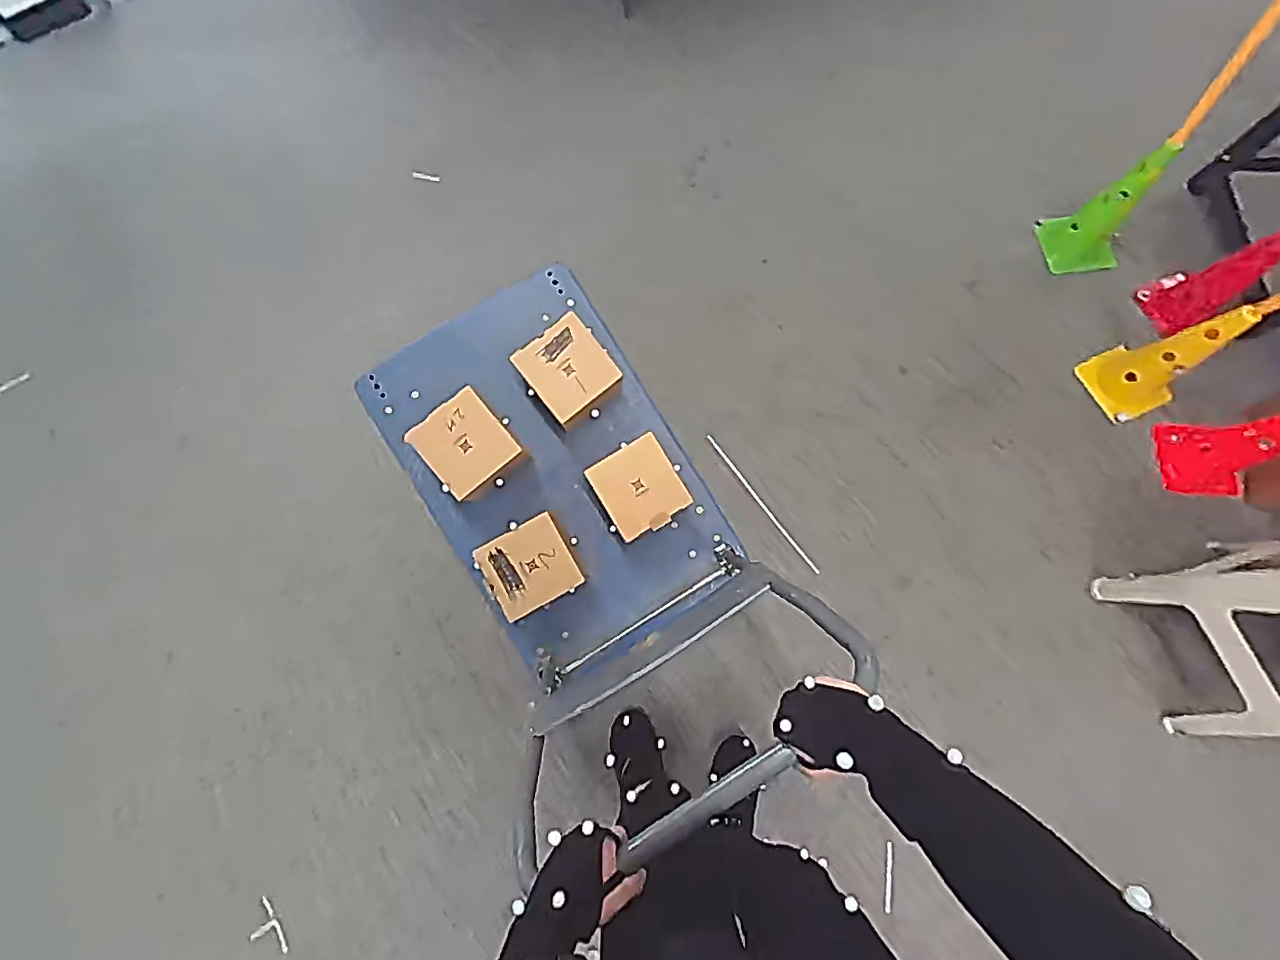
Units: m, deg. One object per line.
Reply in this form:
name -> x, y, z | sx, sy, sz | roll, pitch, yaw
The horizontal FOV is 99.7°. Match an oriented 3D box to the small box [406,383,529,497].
small box -> -0.361, -0.081, 1.171 | 0.168, 0.176, 0.179 | -39, 91, -5

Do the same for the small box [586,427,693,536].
small box -> -0.007, 0.005, 1.195 | 0.168, 0.176, 0.179 | -32, 92, -4

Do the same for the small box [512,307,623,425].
small box -> -0.155, -0.240, 1.191 | 0.168, 0.176, 0.179 | -39, 92, -4
